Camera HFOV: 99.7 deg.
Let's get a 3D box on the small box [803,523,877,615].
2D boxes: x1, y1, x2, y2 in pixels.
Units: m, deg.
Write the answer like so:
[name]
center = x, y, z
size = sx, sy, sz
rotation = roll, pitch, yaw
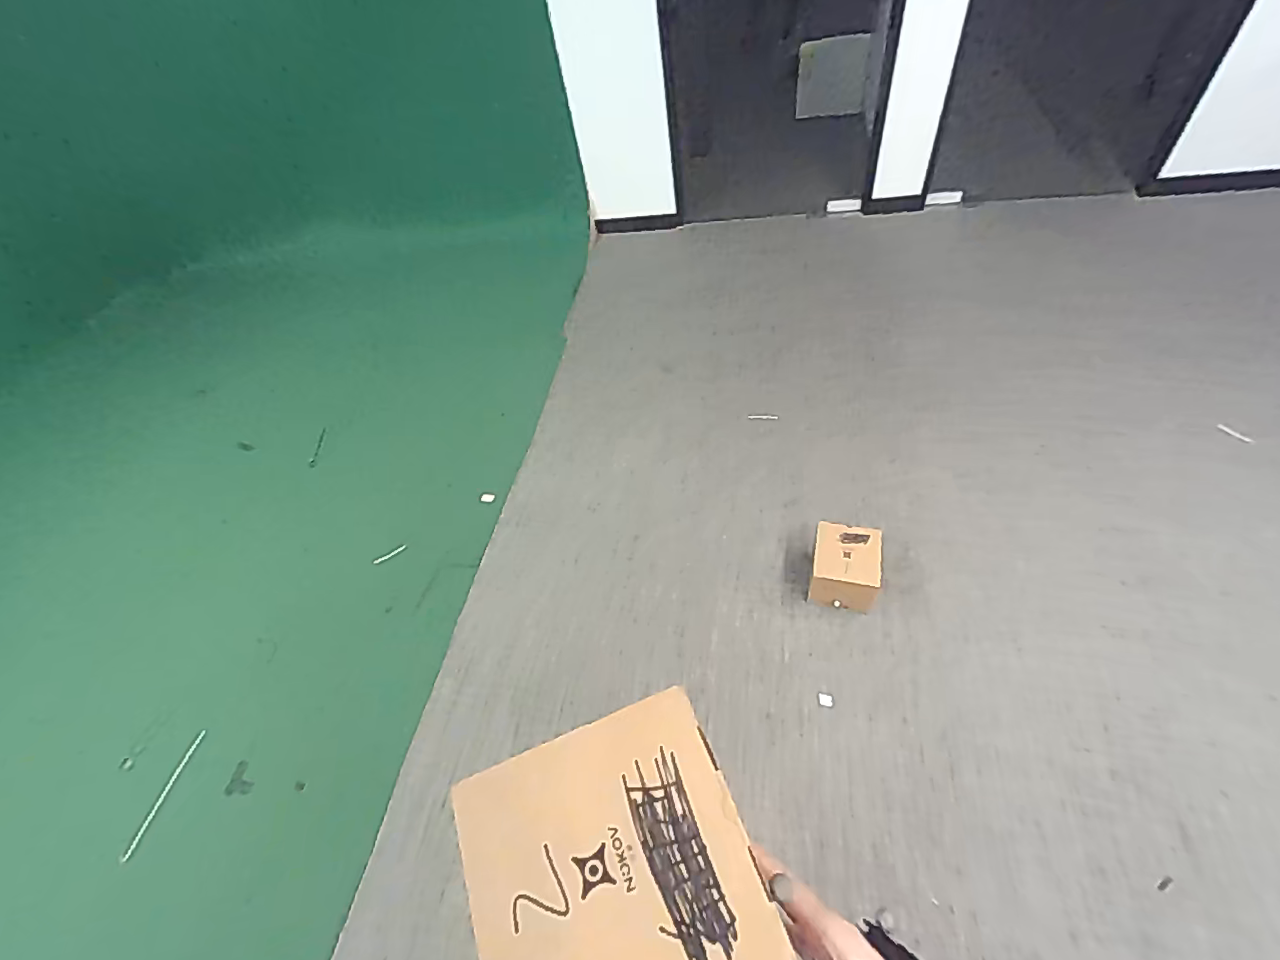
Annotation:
[small box]
center = 0.548, 0.246, 1.488
size = 0.168, 0.176, 0.179
rotation = 8, 55, 16
